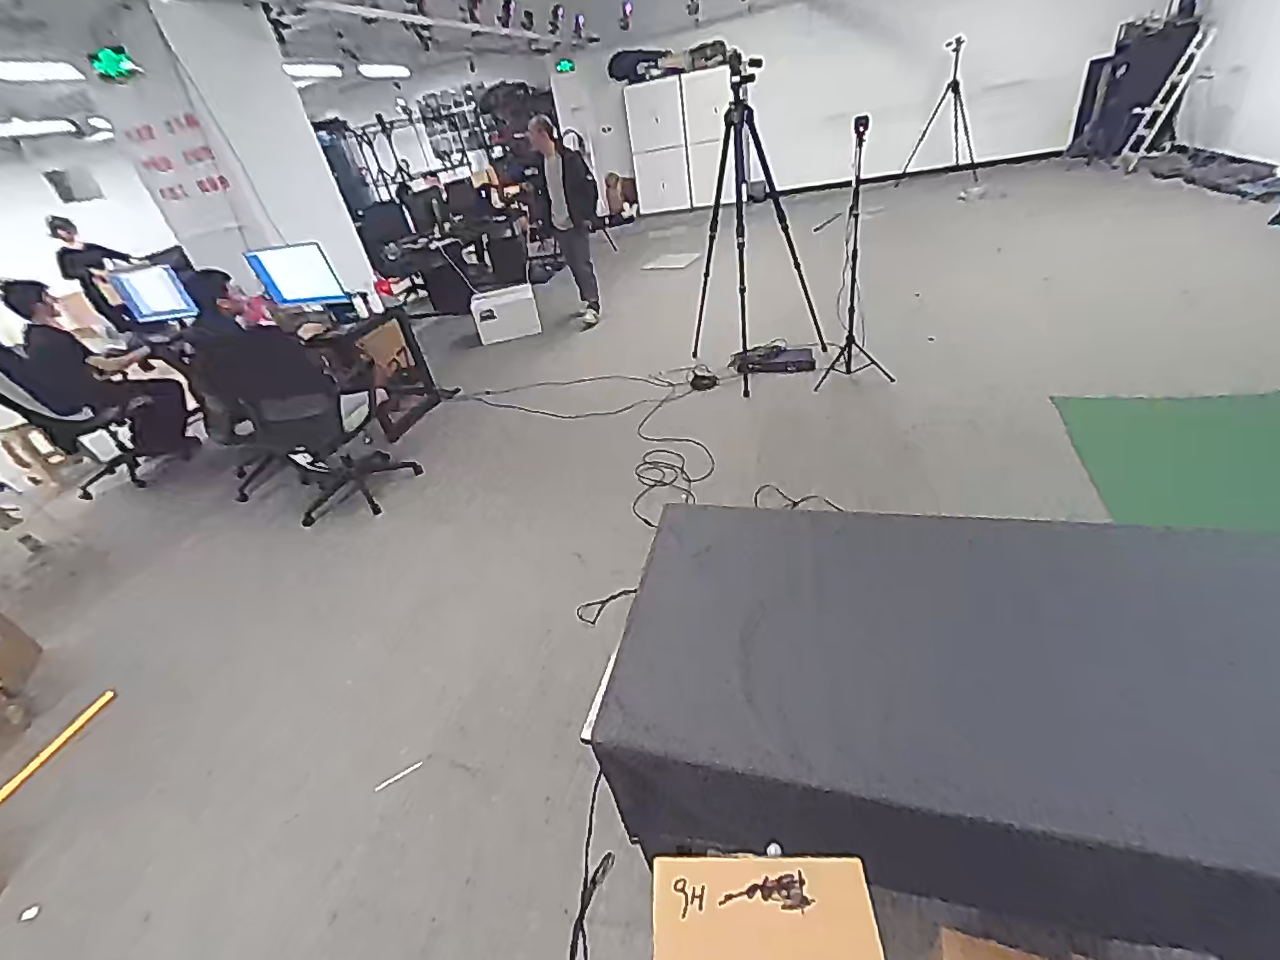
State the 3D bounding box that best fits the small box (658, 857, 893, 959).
[{"bbox_3d":[0.102,0.413,0.412,0.168,0.176,0.179,-3,42,5],"label":"small box"}]
